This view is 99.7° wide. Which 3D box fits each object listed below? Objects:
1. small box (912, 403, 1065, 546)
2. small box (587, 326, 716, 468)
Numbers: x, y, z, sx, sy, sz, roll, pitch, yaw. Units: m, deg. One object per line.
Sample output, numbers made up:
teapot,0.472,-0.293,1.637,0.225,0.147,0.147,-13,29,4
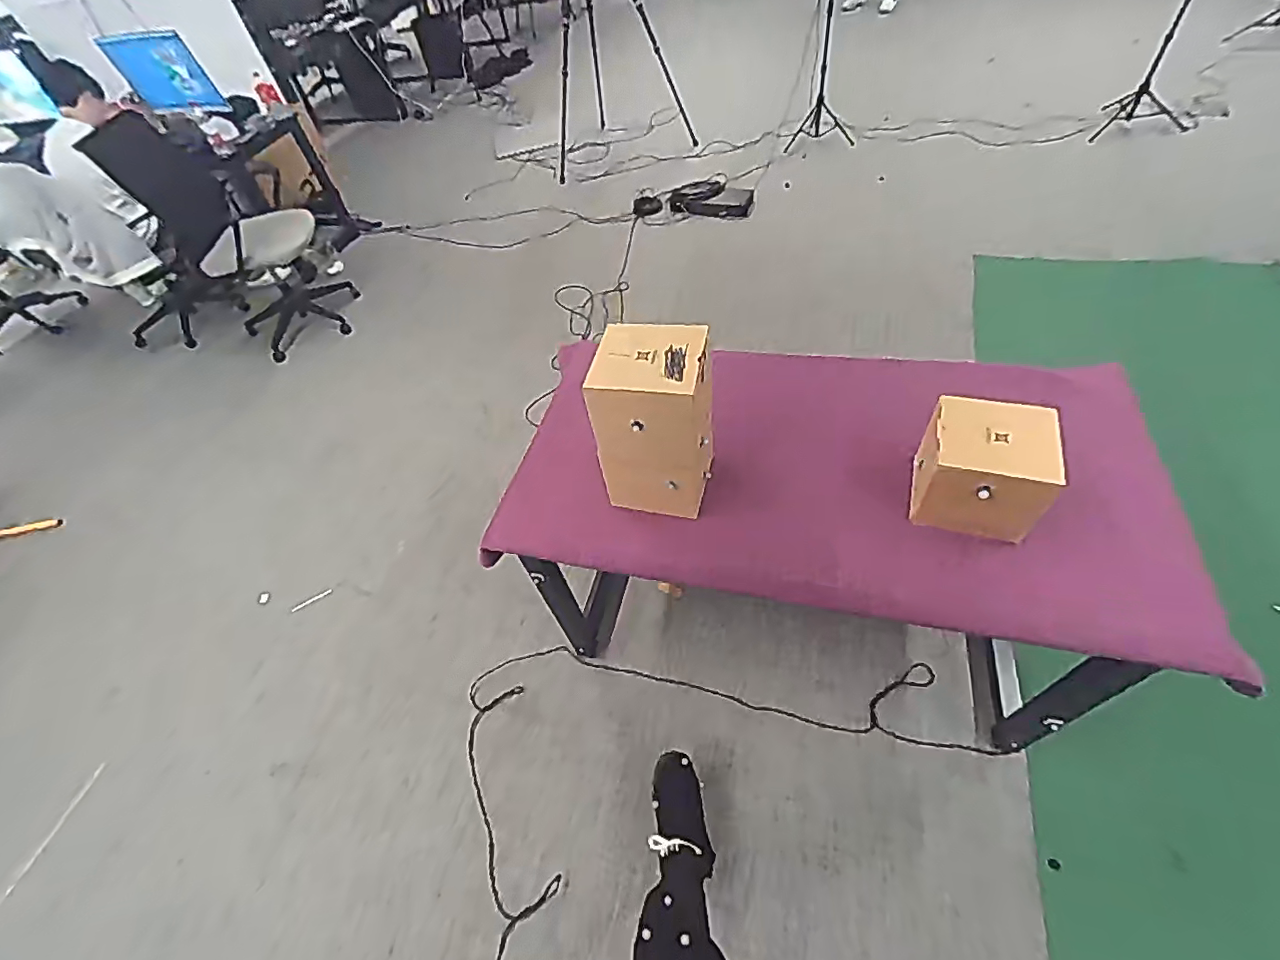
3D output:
small box,0.591,-0.006,0.935,0.179,0.176,0.168,11,54,19
small box,0.030,-0.137,0.911,0.179,0.176,0.168,6,53,13
